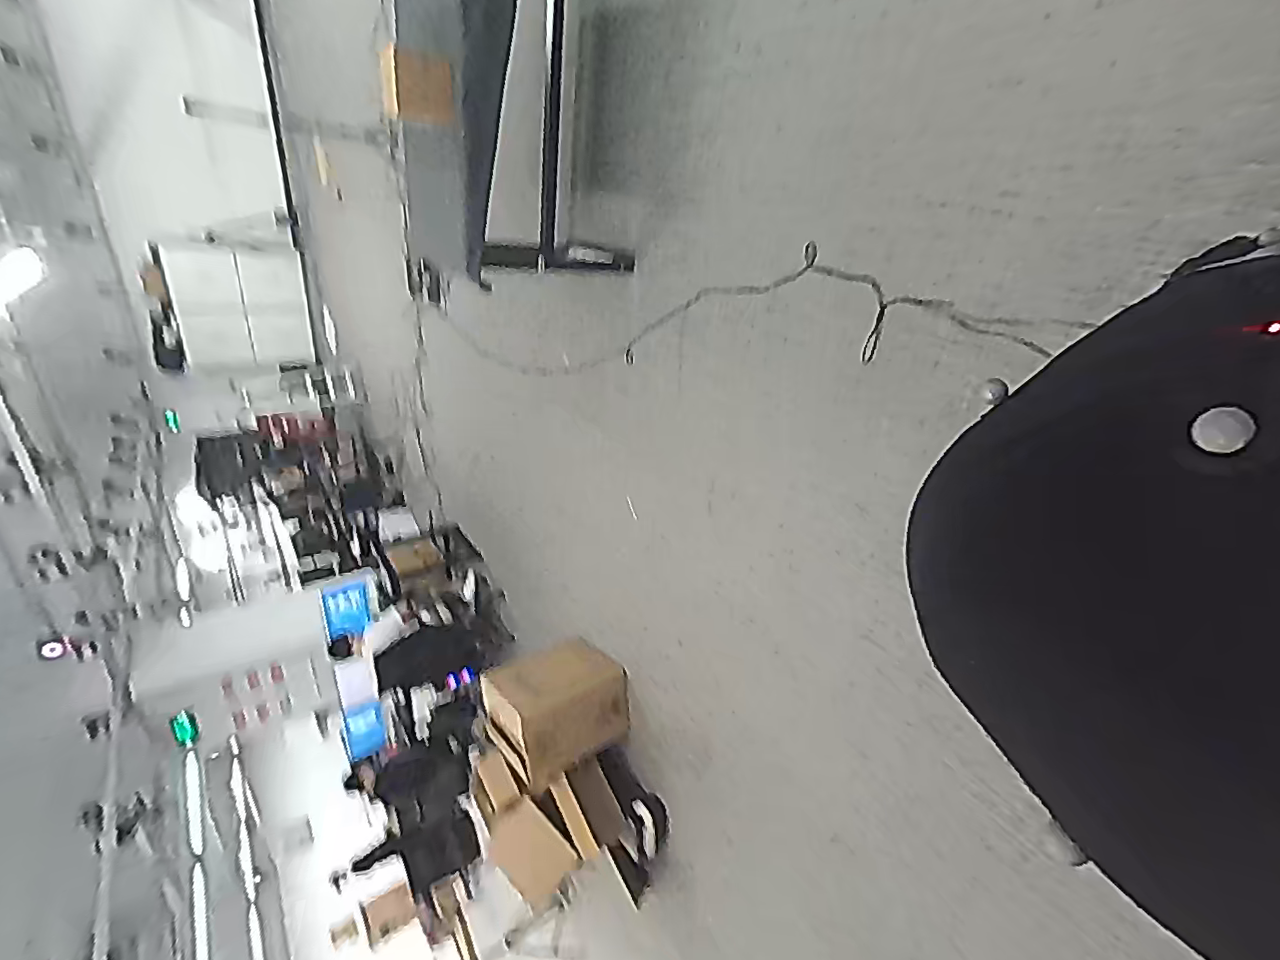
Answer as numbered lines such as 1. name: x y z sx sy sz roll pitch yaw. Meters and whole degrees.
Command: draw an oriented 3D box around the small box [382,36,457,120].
1. small box: -0.679 -1.235 1.673 0.168 0.176 0.179 36 130 45
